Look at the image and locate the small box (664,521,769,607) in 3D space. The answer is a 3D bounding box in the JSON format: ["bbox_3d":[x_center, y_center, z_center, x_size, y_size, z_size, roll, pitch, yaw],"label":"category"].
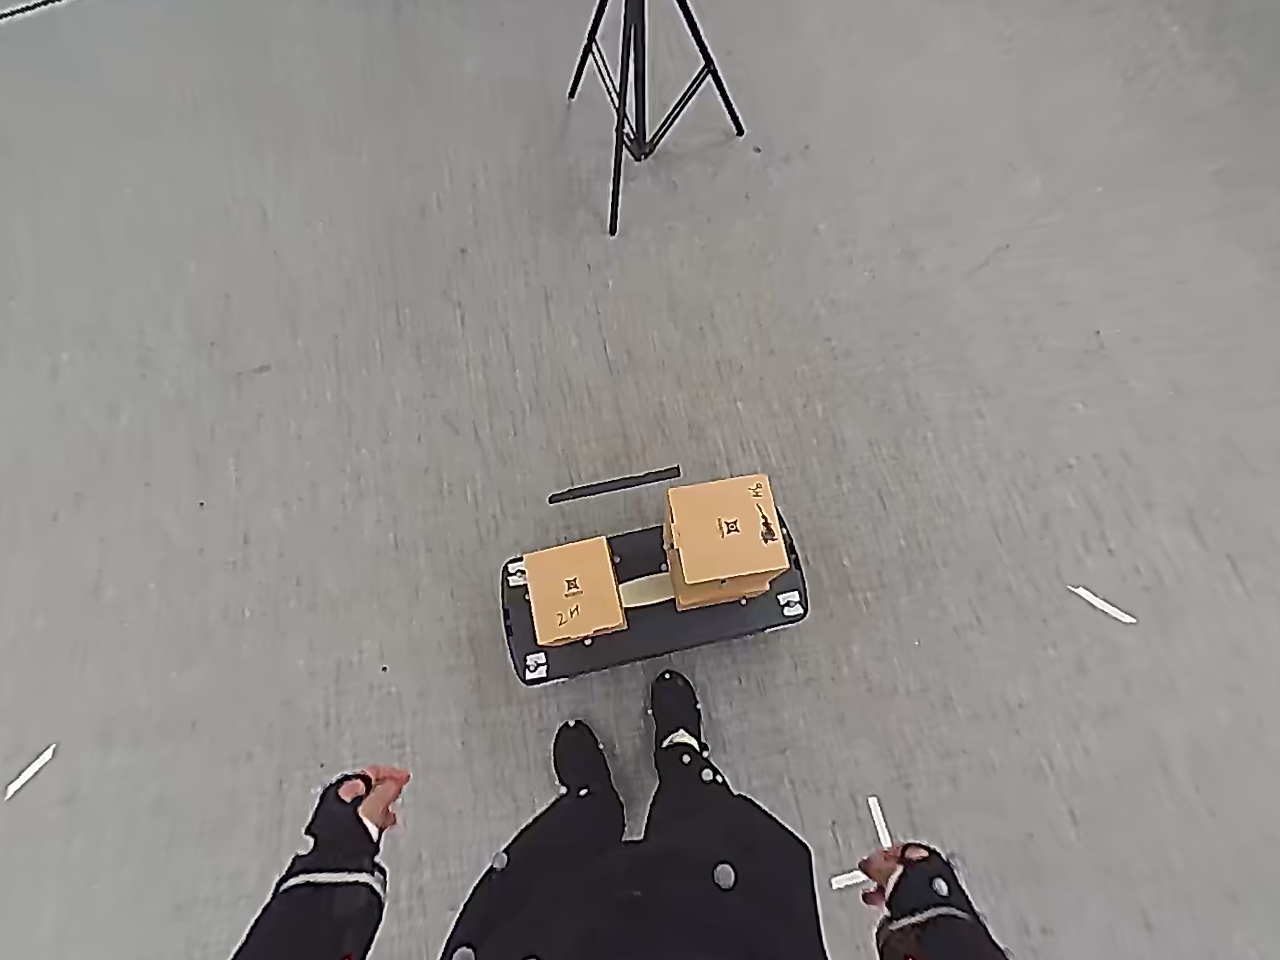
[{"bbox_3d":[0.147,0.163,1.118,0.179,0.176,0.168,-10,73,-2],"label":"small box"}]

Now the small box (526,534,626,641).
[{"bbox_3d":[-0.127,0.226,1.101,0.168,0.176,0.179,-13,73,-3],"label":"small box"}]

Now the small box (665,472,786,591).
[{"bbox_3d":[0.143,0.099,0.967,0.179,0.176,0.168,-9,73,-1],"label":"small box"}]
